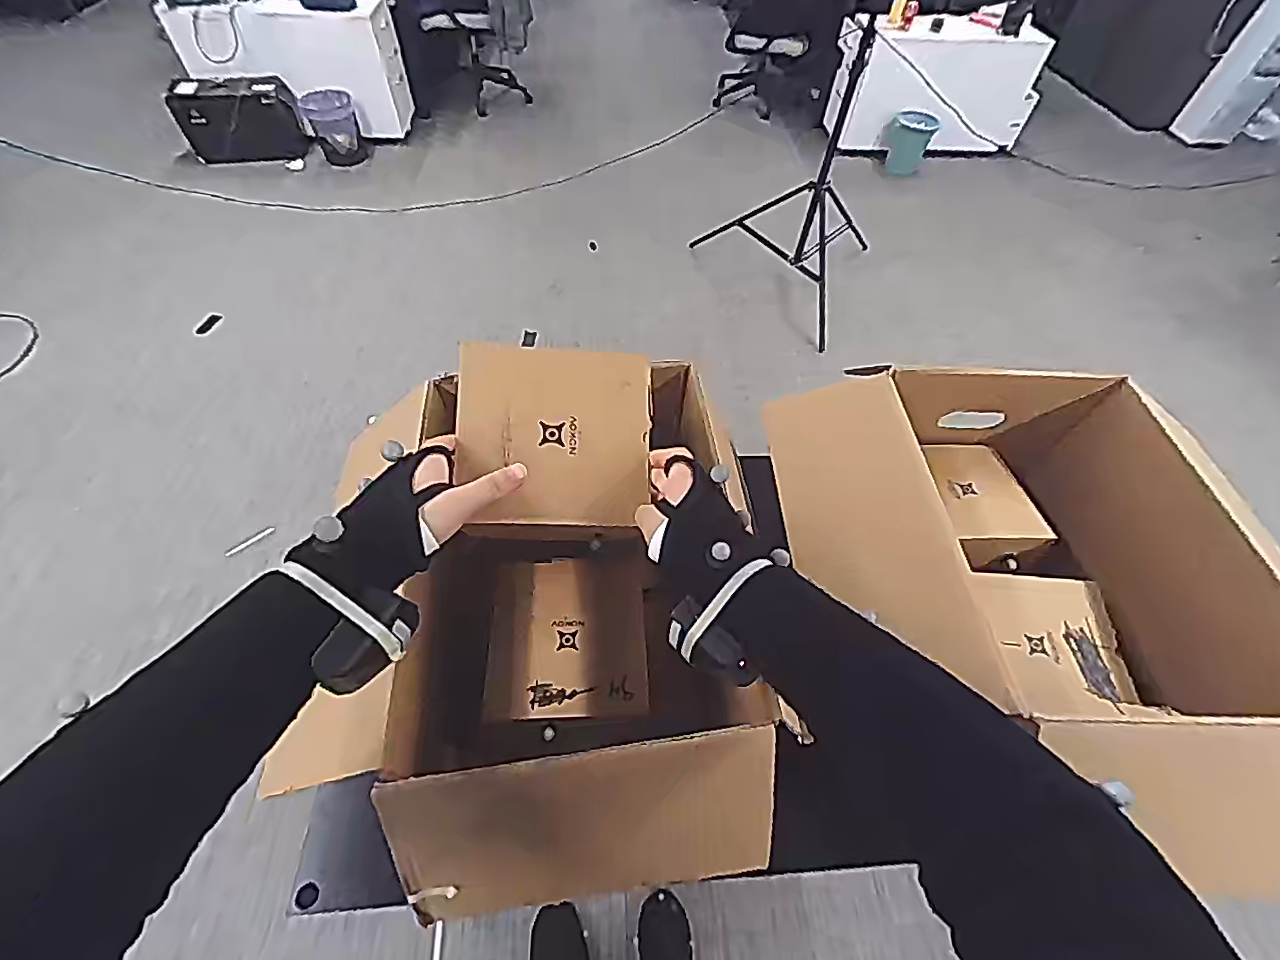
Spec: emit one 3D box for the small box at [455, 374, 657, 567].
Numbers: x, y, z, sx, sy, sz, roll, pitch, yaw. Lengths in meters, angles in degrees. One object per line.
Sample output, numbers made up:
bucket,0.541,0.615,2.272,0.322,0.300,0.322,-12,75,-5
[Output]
small box,-0.085,0.003,0.565,0.179,0.176,0.168,2,78,-9
